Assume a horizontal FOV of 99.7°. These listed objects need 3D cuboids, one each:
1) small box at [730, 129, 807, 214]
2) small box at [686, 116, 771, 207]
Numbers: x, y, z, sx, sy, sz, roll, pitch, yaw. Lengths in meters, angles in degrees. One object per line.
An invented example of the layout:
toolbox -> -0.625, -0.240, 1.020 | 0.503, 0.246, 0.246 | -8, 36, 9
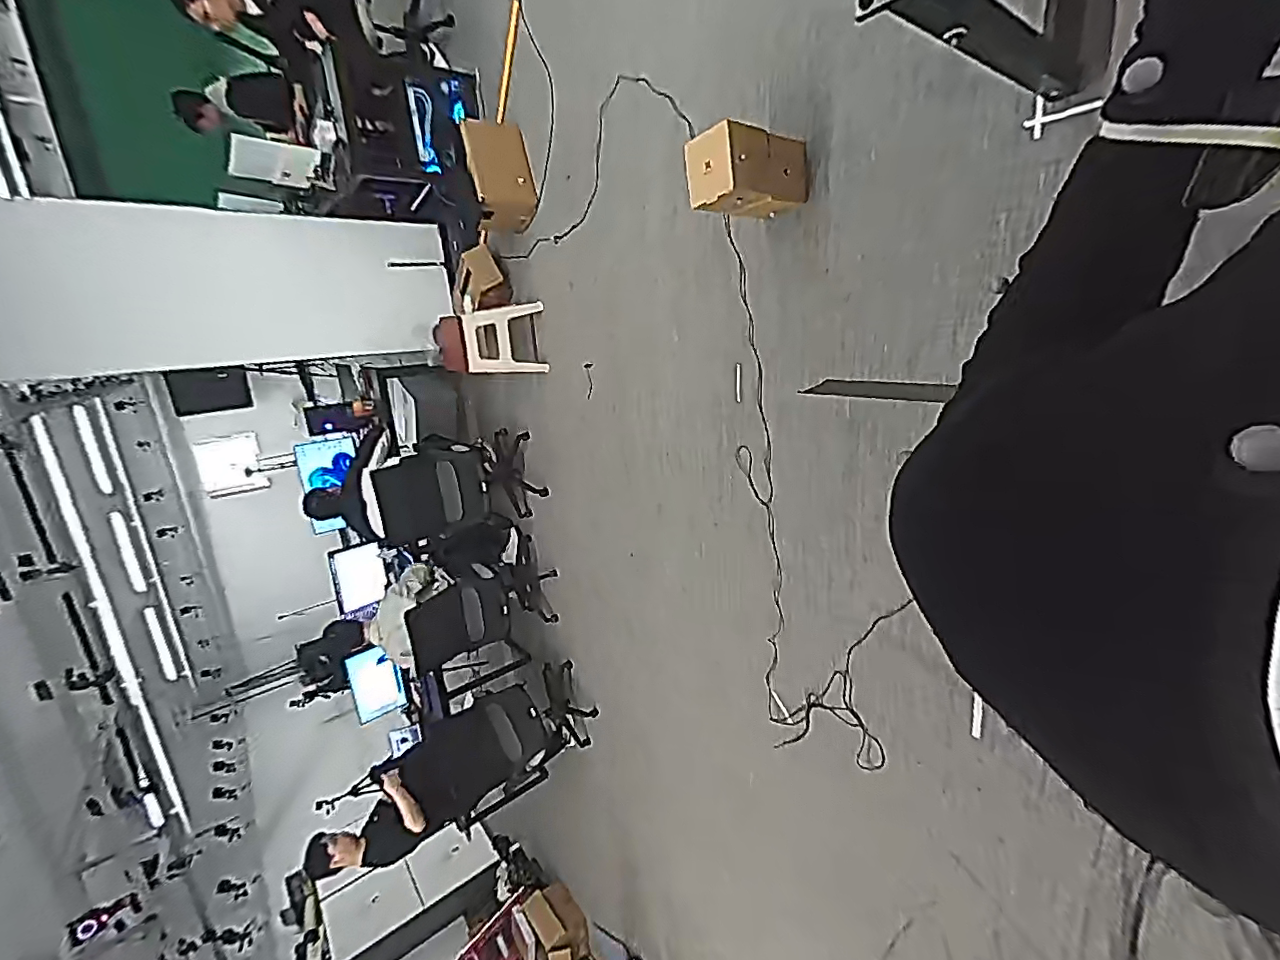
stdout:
small box -> 0.381, -0.913, 1.616 | 0.168, 0.176, 0.179 | 11, 112, 51
small box -> 0.252, -0.883, 1.521 | 0.168, 0.176, 0.179 | 6, 106, 51
